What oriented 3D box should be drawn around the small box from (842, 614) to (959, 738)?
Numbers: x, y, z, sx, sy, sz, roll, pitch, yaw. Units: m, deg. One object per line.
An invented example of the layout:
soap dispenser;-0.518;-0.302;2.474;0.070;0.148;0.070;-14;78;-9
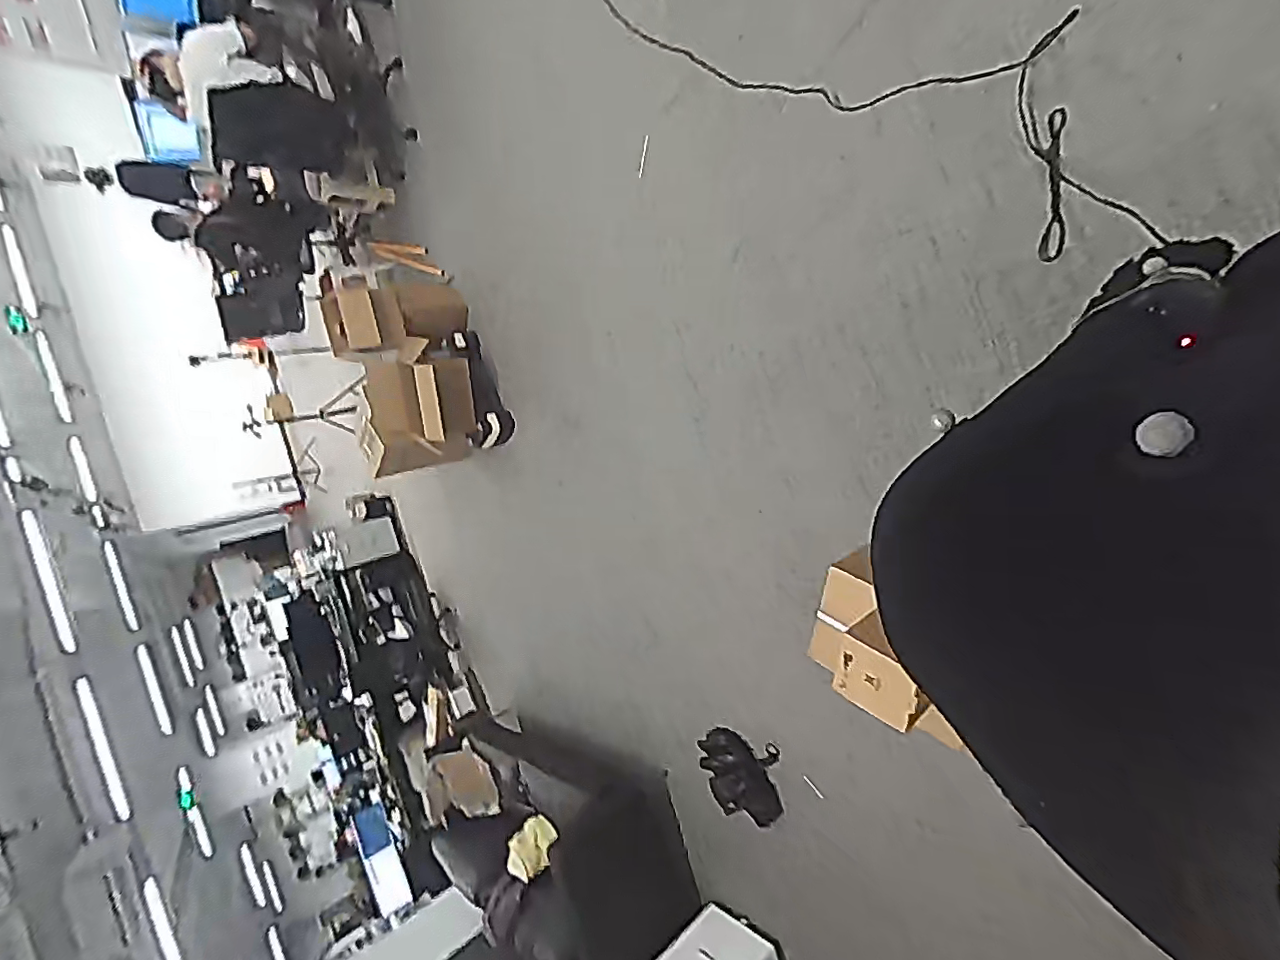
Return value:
small box;0.585;0.428;1.216;0.179;0.176;0.168;22;121;47
